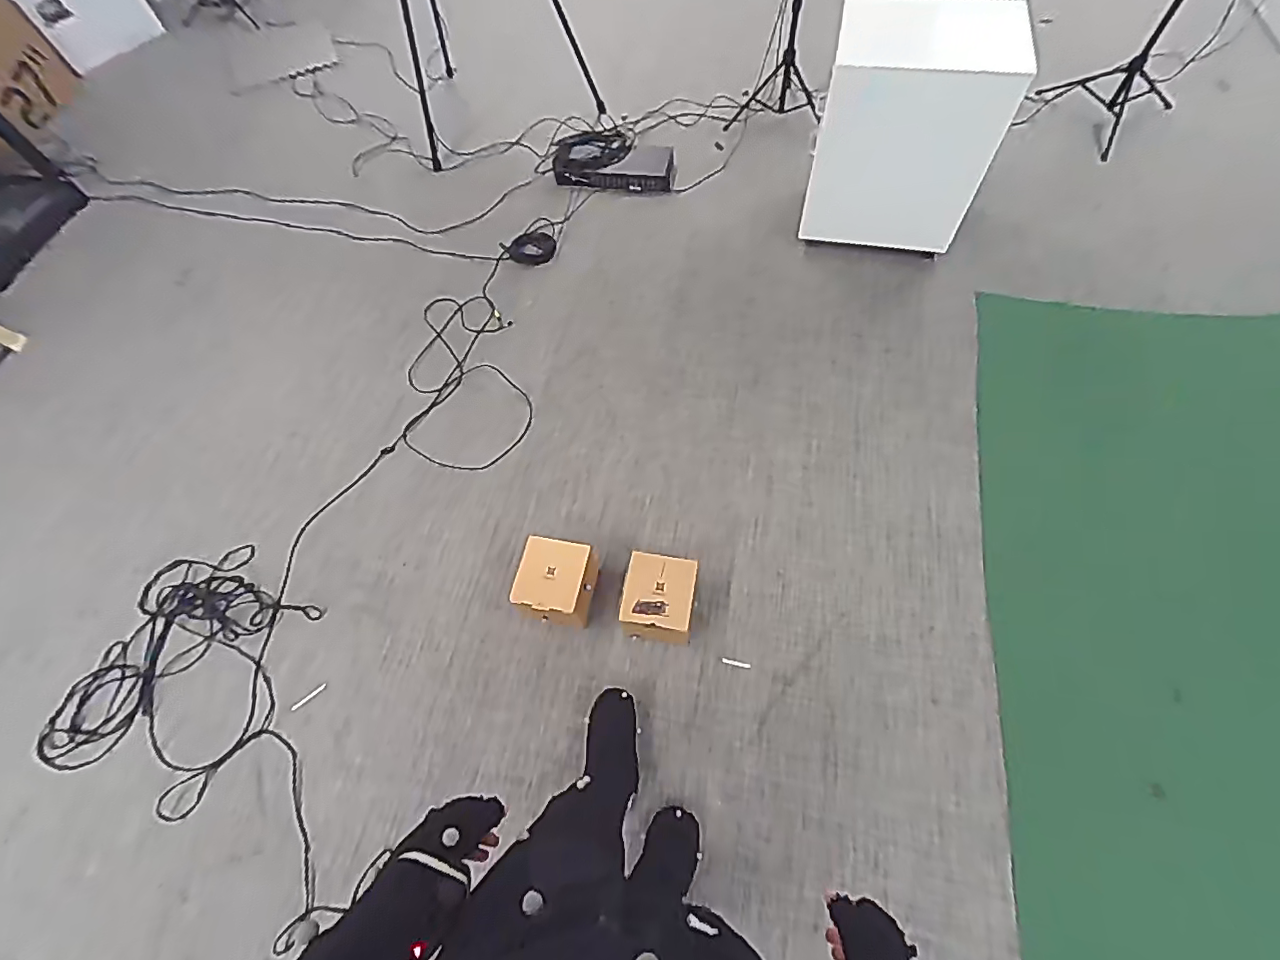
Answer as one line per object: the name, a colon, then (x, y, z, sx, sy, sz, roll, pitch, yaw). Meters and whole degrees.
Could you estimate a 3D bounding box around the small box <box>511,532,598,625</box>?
small box: (-0.212, 0.259, 1.402, 0.168, 0.176, 0.179, 8, 63, 10)

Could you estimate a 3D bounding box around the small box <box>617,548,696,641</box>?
small box: (0.049, 0.292, 1.359, 0.168, 0.176, 0.179, 8, 62, 9)
